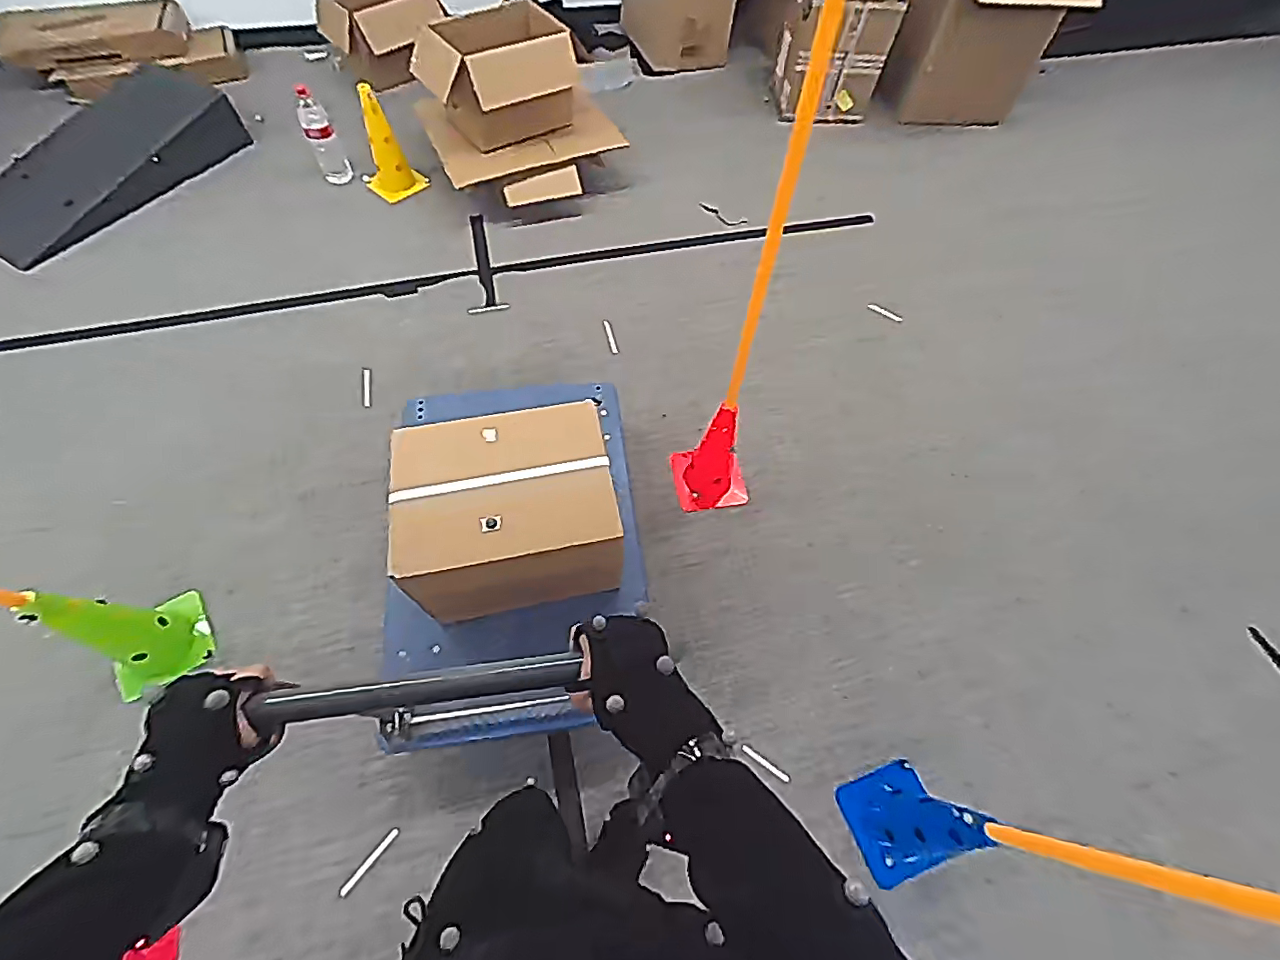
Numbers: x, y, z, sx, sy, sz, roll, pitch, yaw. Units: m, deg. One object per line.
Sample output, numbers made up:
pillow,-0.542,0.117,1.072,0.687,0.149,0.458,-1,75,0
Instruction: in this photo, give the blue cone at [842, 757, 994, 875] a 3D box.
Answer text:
blue cone,0.568,0.655,1.050,0.193,0.380,0.192,-15,61,-11

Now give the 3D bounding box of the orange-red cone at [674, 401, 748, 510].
orange-red cone,0.214,-0.088,1.441,0.199,0.360,0.198,-6,61,-7
